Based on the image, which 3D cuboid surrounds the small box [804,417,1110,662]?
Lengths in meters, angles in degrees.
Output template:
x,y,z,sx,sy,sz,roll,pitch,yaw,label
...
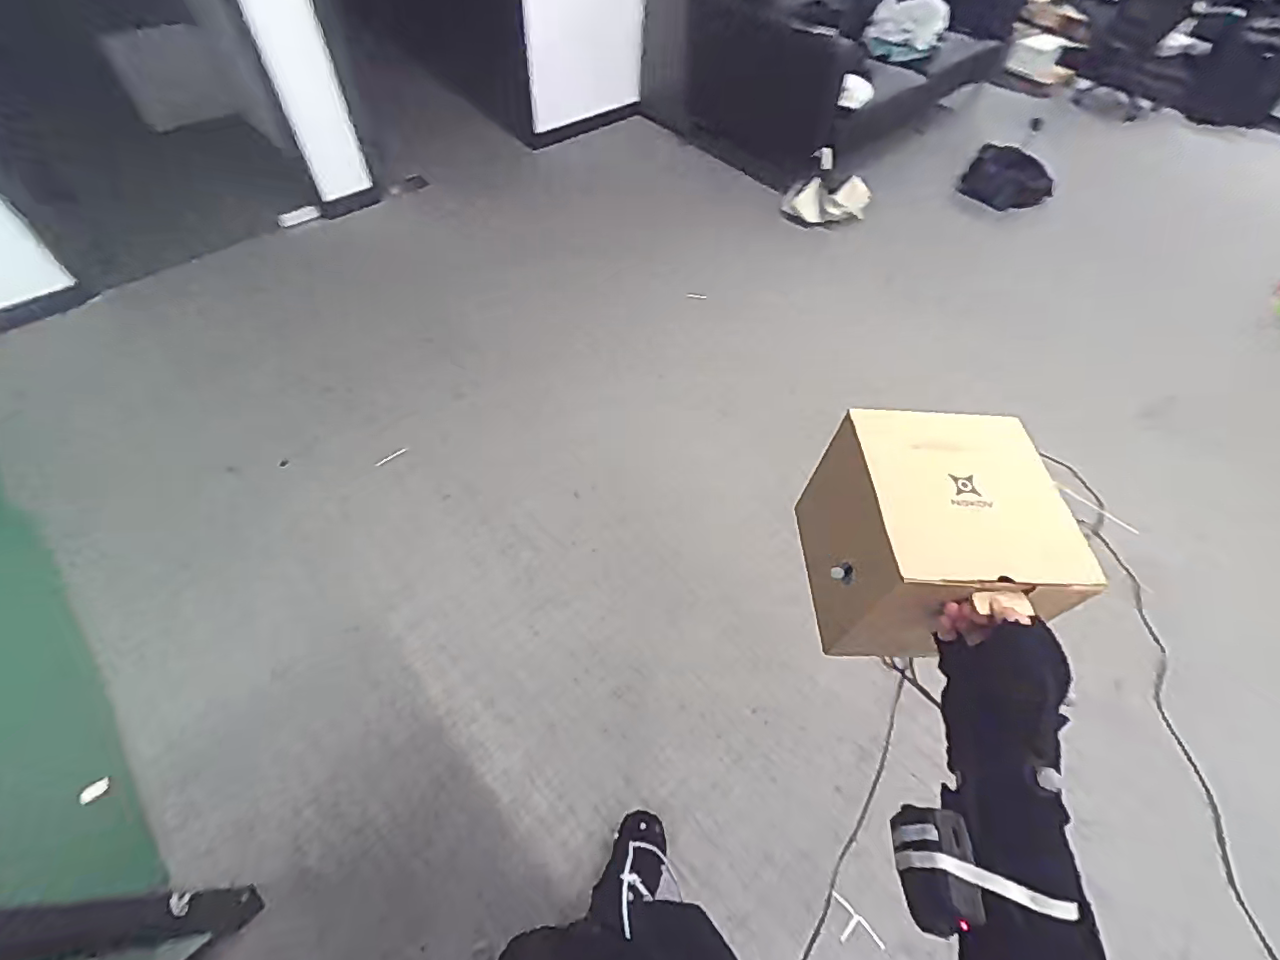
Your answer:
x,y,z,sx,sy,sz,roll,pitch,yaw,label
0.271,0.064,0.517,0.168,0.176,0.179,4,54,-3,small box
